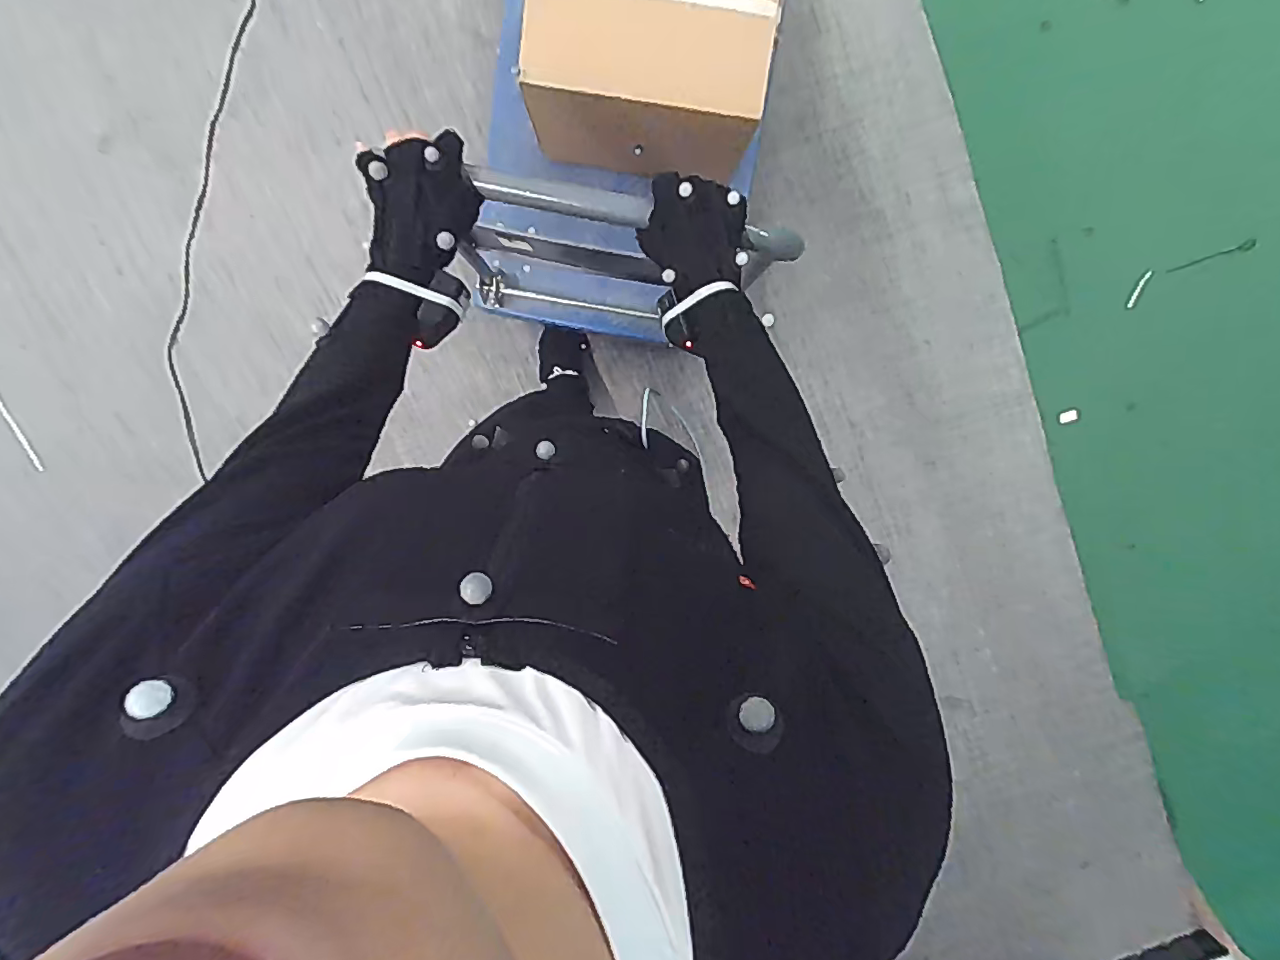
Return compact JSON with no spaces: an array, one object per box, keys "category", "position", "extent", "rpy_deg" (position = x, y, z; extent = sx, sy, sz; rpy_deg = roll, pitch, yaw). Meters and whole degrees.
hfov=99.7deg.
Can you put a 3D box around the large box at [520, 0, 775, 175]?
[{"category":"large box","position":[0.017,-0.803,1.003],"extent":[0.408,0.320,0.320],"rpy_deg":[7,99,-3]}]
